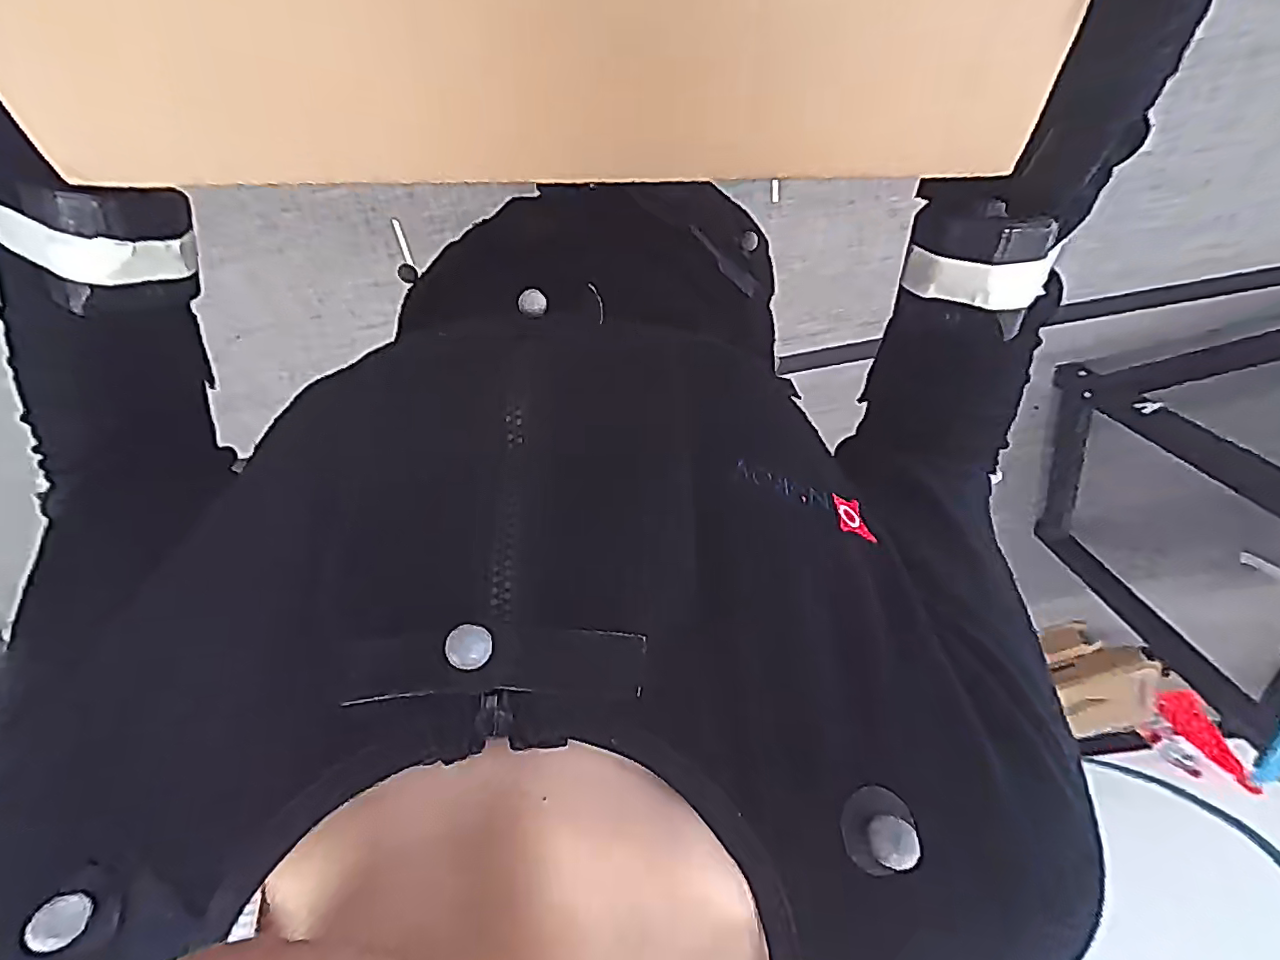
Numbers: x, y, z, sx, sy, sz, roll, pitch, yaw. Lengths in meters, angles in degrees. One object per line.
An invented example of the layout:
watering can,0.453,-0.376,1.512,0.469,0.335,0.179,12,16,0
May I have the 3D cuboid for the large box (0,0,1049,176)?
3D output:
large box,-0.047,-0.353,0.226,0.408,0.320,0.320,0,137,1
